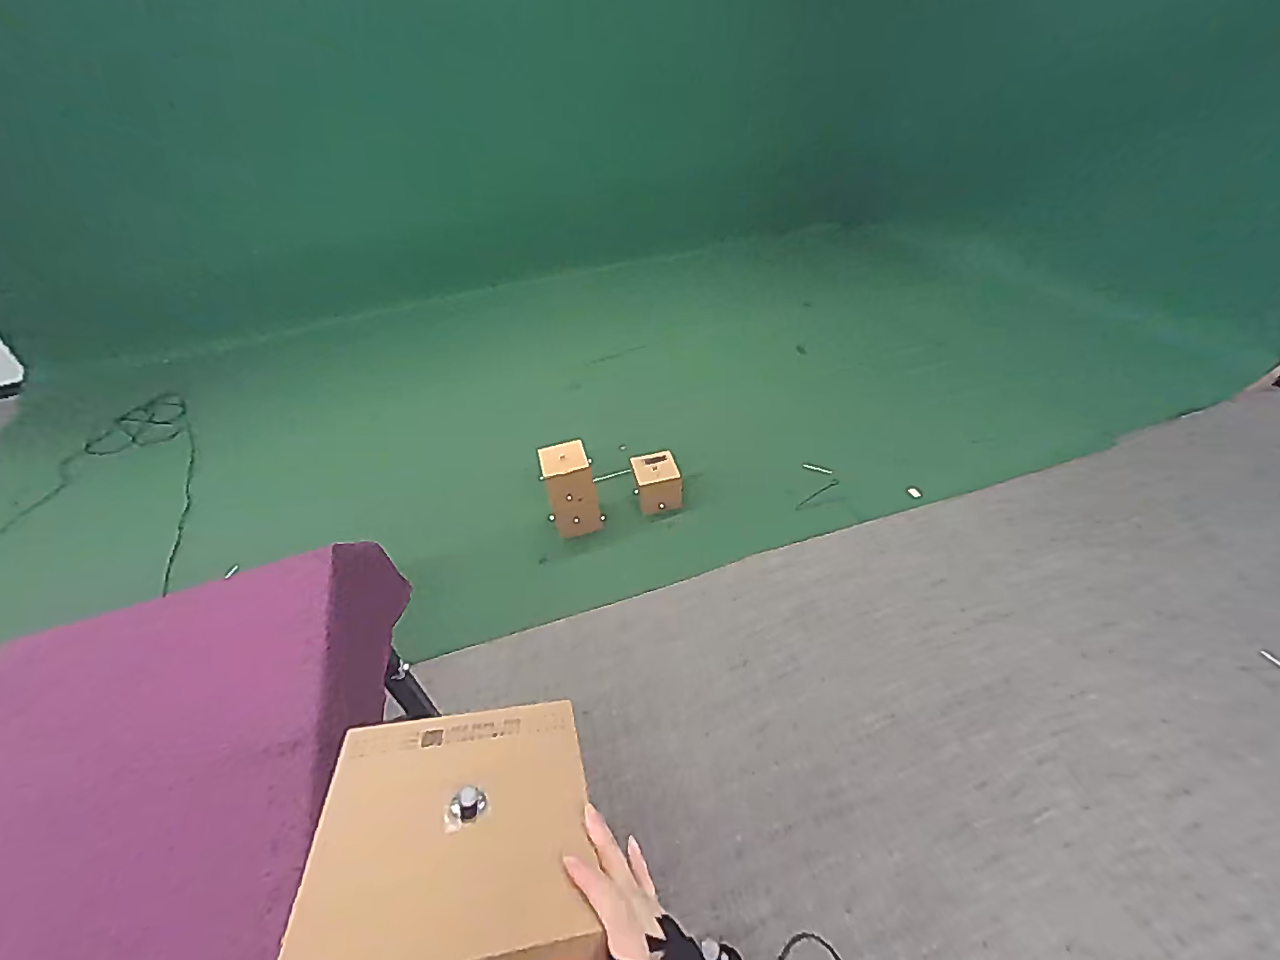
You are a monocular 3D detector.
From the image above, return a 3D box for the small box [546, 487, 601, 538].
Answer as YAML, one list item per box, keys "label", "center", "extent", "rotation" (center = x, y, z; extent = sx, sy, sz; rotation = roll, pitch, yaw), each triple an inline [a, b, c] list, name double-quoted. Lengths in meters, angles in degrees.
- label: "small box"
  center: [-0.257, 0.100, 2.113]
  extent: [0.179, 0.176, 0.168]
  rotation: [-15, 41, -7]

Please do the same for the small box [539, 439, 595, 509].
- label: "small box"
  center: [-0.271, -0.021, 2.005]
  extent: [0.168, 0.176, 0.179]
  rotation: [-15, 41, -8]
